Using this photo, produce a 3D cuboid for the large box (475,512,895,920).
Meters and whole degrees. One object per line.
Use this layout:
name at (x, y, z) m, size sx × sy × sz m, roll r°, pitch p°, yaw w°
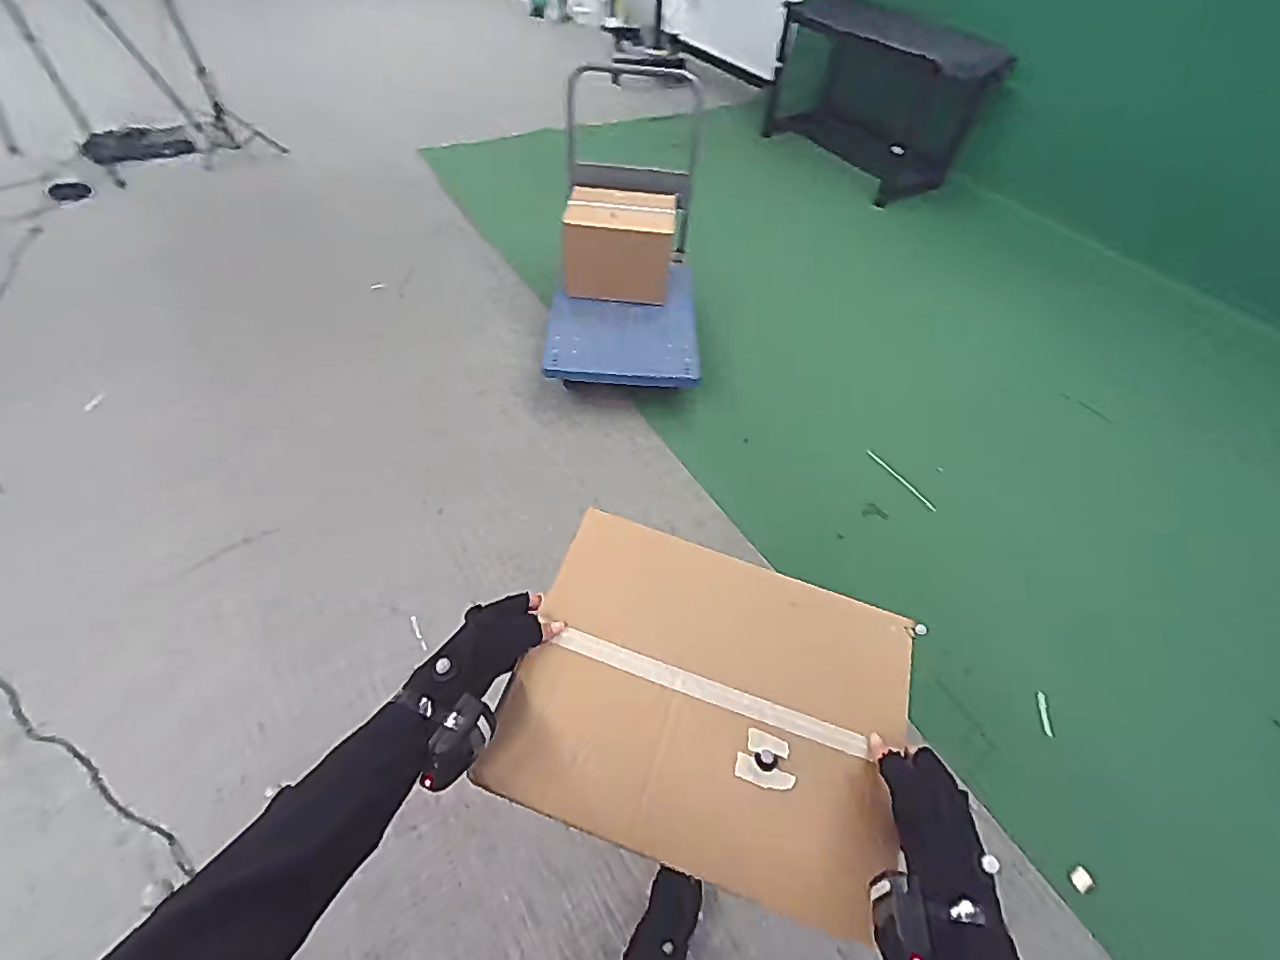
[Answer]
large box at (0.055, 0.294, 0.704) m, size 0.408 × 0.320 × 0.320 m, roll 19°, pitch 59°, yaw 5°
